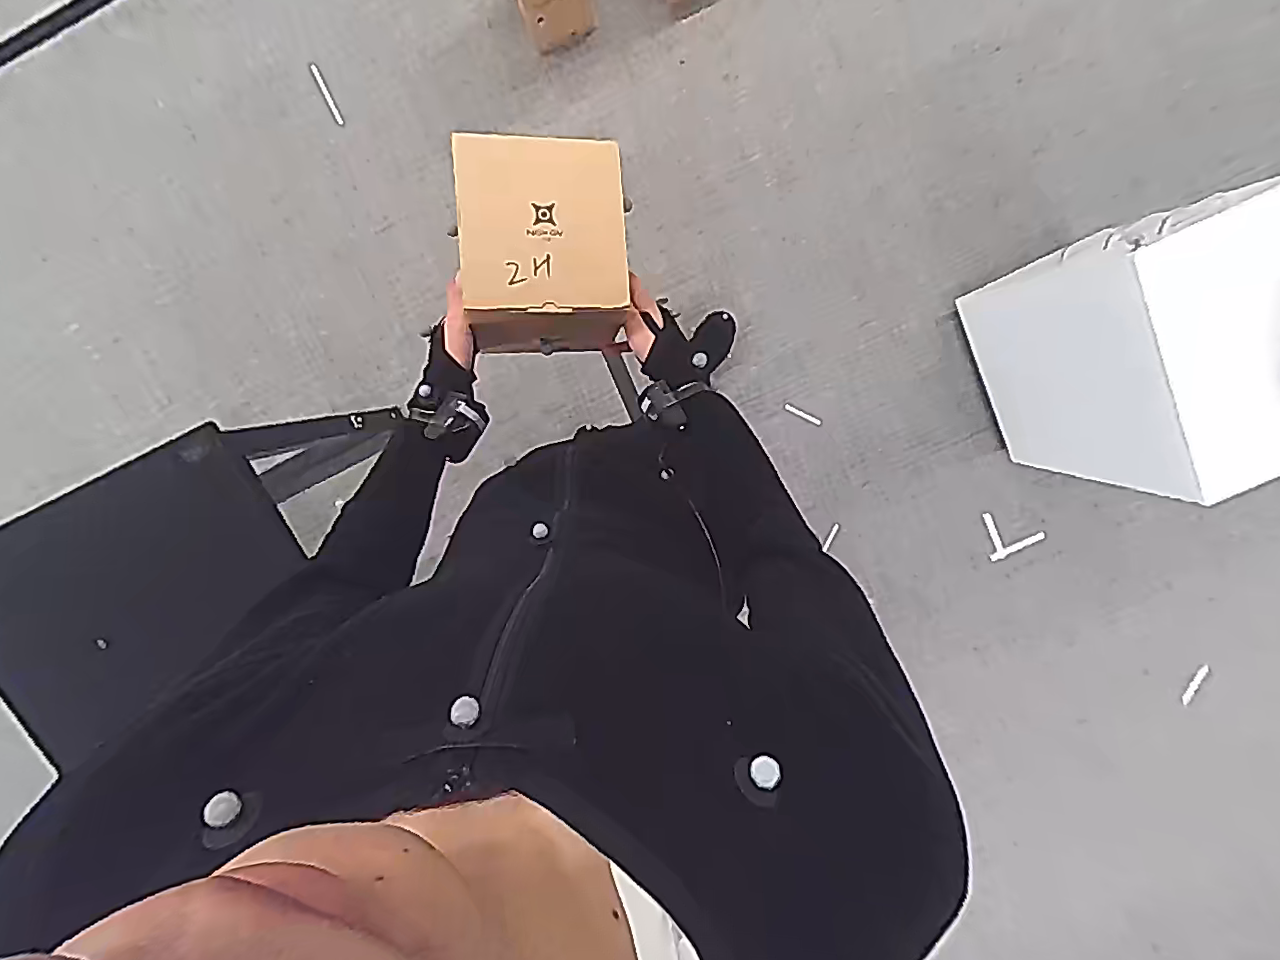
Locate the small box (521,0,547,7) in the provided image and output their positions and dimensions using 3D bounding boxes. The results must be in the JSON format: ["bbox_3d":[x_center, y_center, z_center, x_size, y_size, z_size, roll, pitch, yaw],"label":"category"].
[{"bbox_3d":[-0.217,-1.172,1.149,0.179,0.176,0.168,-24,99,3],"label":"small box"}]

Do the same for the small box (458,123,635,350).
[{"bbox_3d":[-0.105,-0.254,0.603,0.168,0.176,0.179,-4,89,-11],"label":"small box"}]
